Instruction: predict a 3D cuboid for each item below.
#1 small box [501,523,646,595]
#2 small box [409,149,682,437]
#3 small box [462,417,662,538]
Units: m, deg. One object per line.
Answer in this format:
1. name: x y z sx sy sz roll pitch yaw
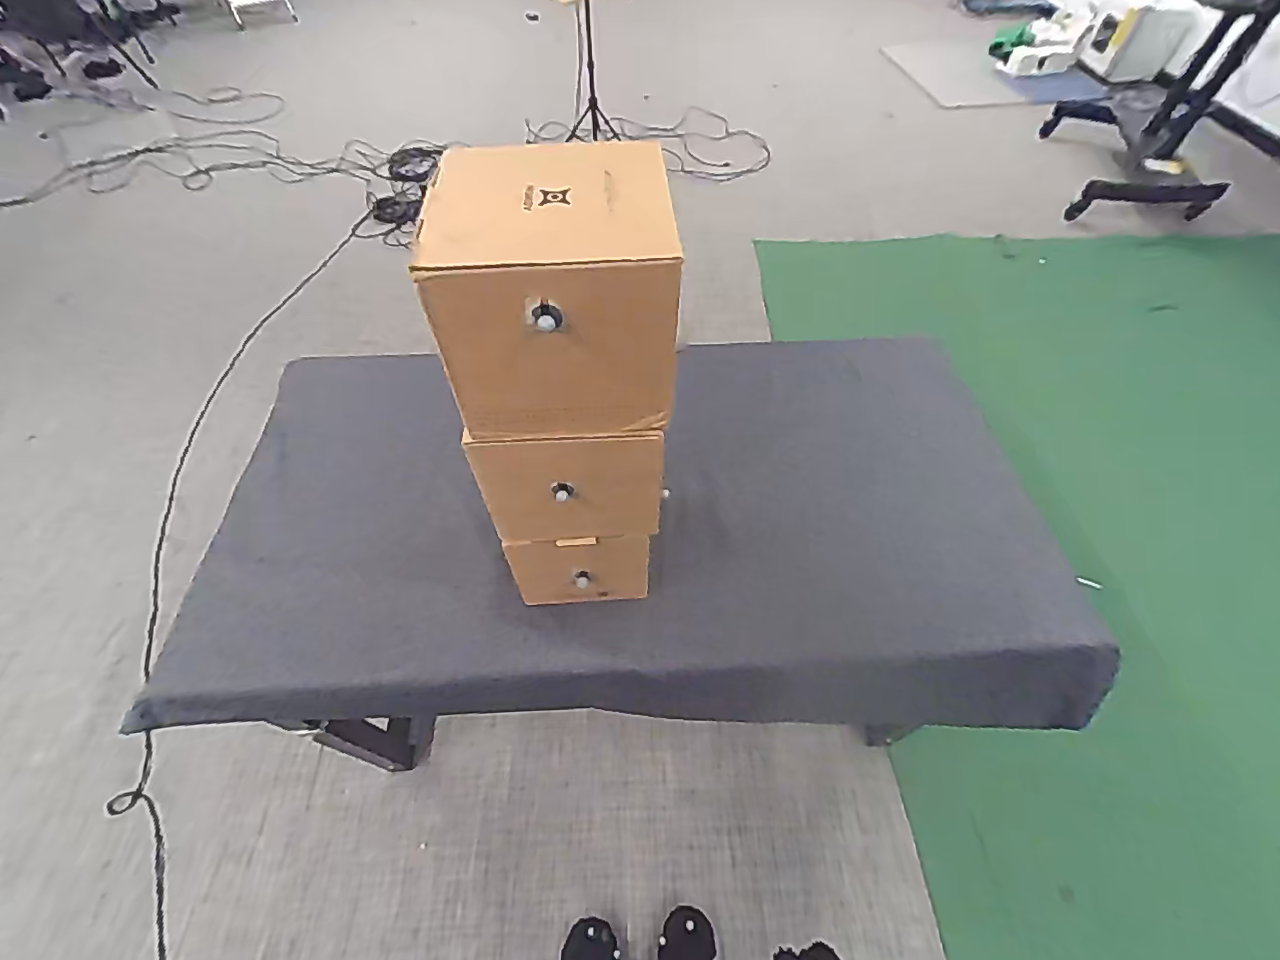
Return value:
1. small box: -0.079 0.044 0.714 0.168 0.176 0.179 -3 55 -3
2. small box: -0.065 -0.148 0.451 0.179 0.176 0.168 -3 55 -4
3. small box: -0.071 -0.049 0.579 0.179 0.176 0.168 -2 54 -1
